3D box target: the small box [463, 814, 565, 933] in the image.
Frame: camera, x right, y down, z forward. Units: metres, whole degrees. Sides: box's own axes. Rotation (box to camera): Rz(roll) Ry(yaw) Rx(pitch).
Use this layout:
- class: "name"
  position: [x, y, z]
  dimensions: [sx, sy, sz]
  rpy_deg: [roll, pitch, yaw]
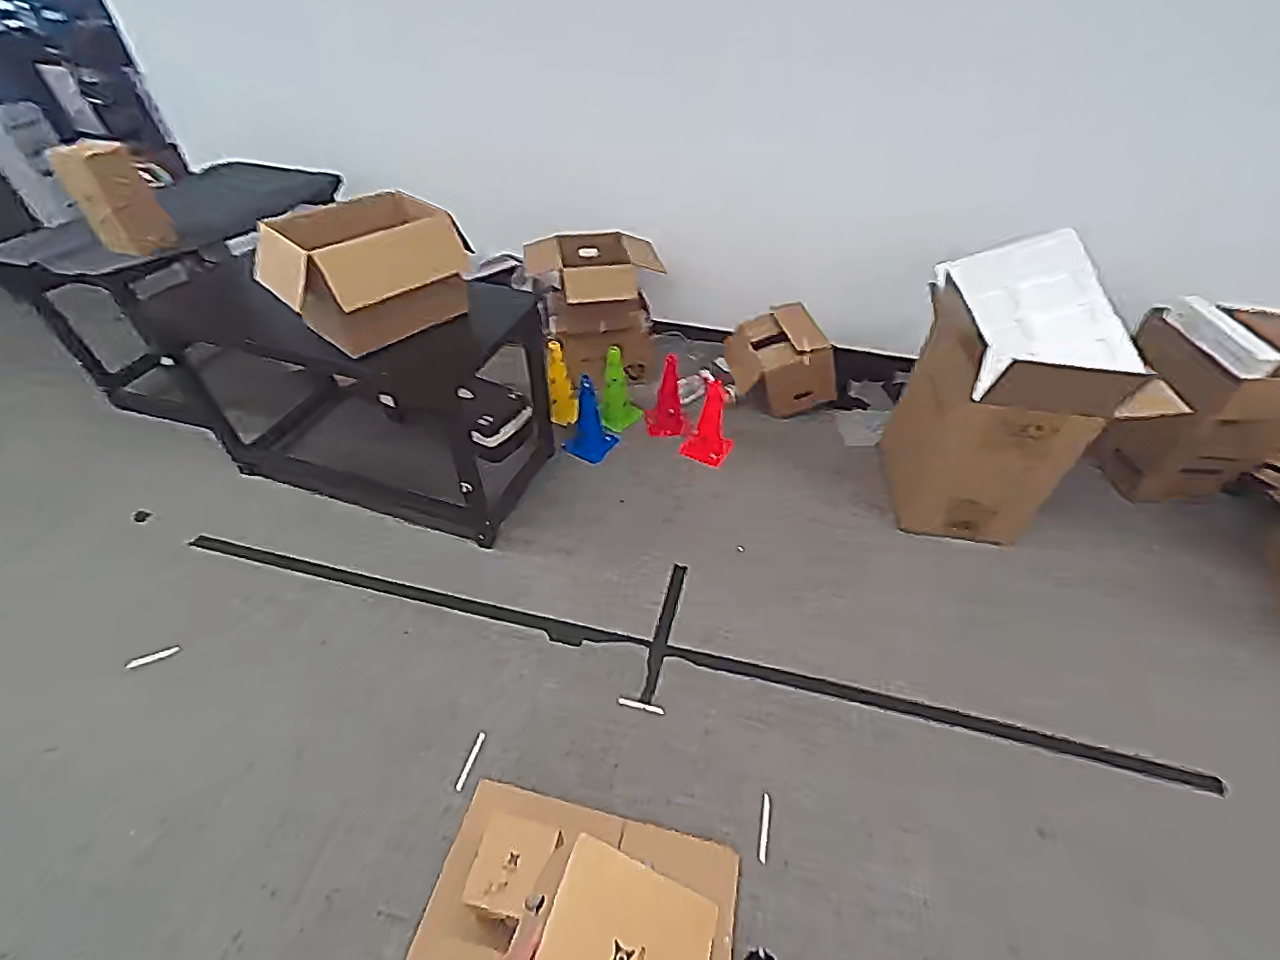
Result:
- class: "small box"
  position: [-0.274, 0.899, 1.226]
  dimensions: [0.168, 0.176, 0.179]
  rpy_deg: [9, 45, 9]

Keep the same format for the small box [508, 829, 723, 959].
- class: "small box"
  position: [-0.040, 0.514, 0.572]
  dimensions: [0.179, 0.176, 0.168]
  rpy_deg: [29, 41, -1]
